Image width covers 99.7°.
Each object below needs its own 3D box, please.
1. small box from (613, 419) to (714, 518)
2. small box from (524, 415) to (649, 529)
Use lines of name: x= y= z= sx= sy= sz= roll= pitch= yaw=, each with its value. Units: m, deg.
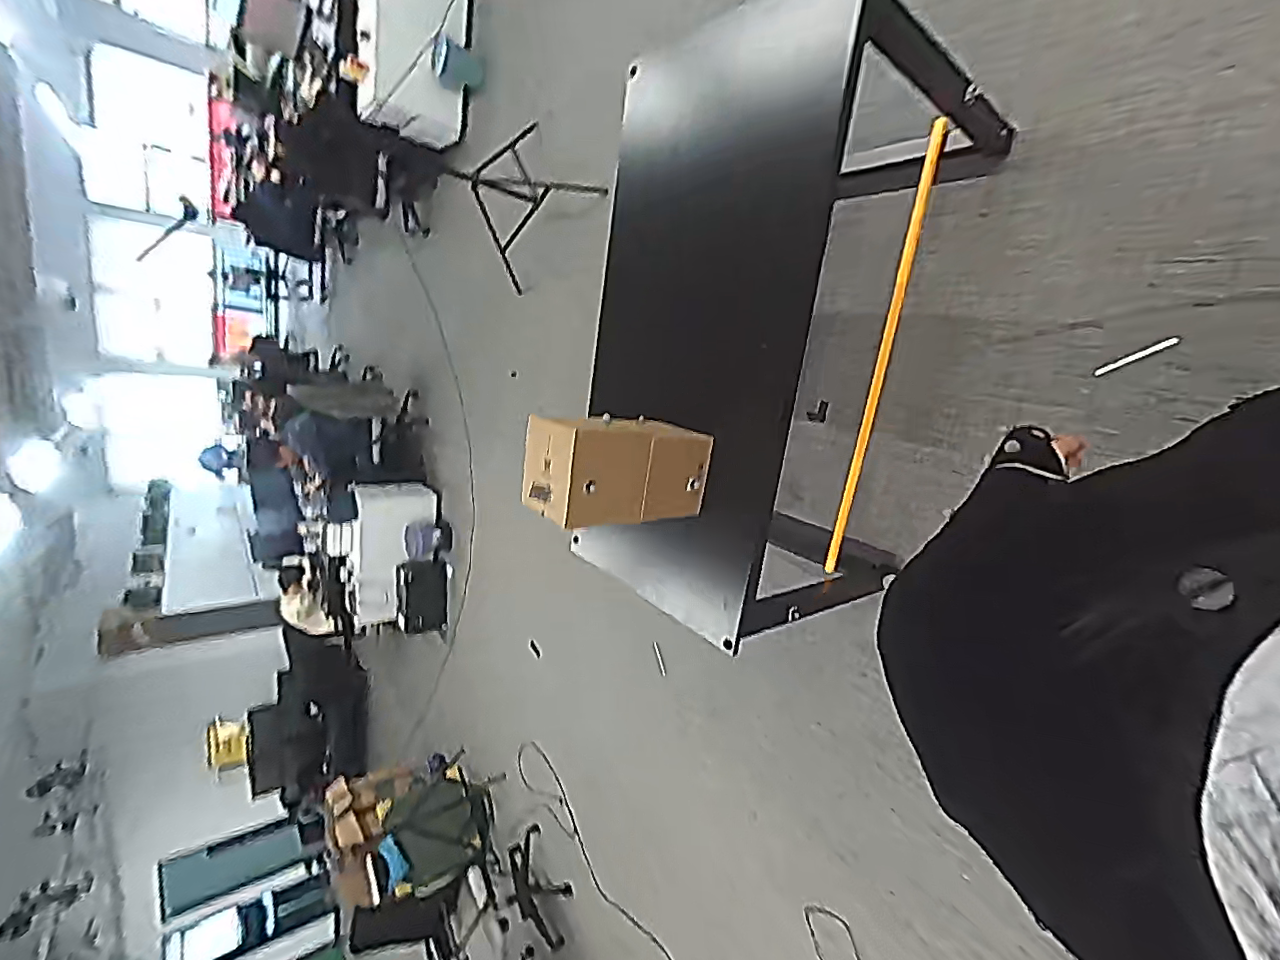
small box: x=0.026 y=-0.028 z=1.121 sx=0.179 sy=0.176 sz=0.168 roll=22 pitch=110 yaw=47
small box: x=-0.101 y=-0.022 z=1.016 sx=0.168 sy=0.176 sz=0.179 roll=21 pitch=108 yaw=48
